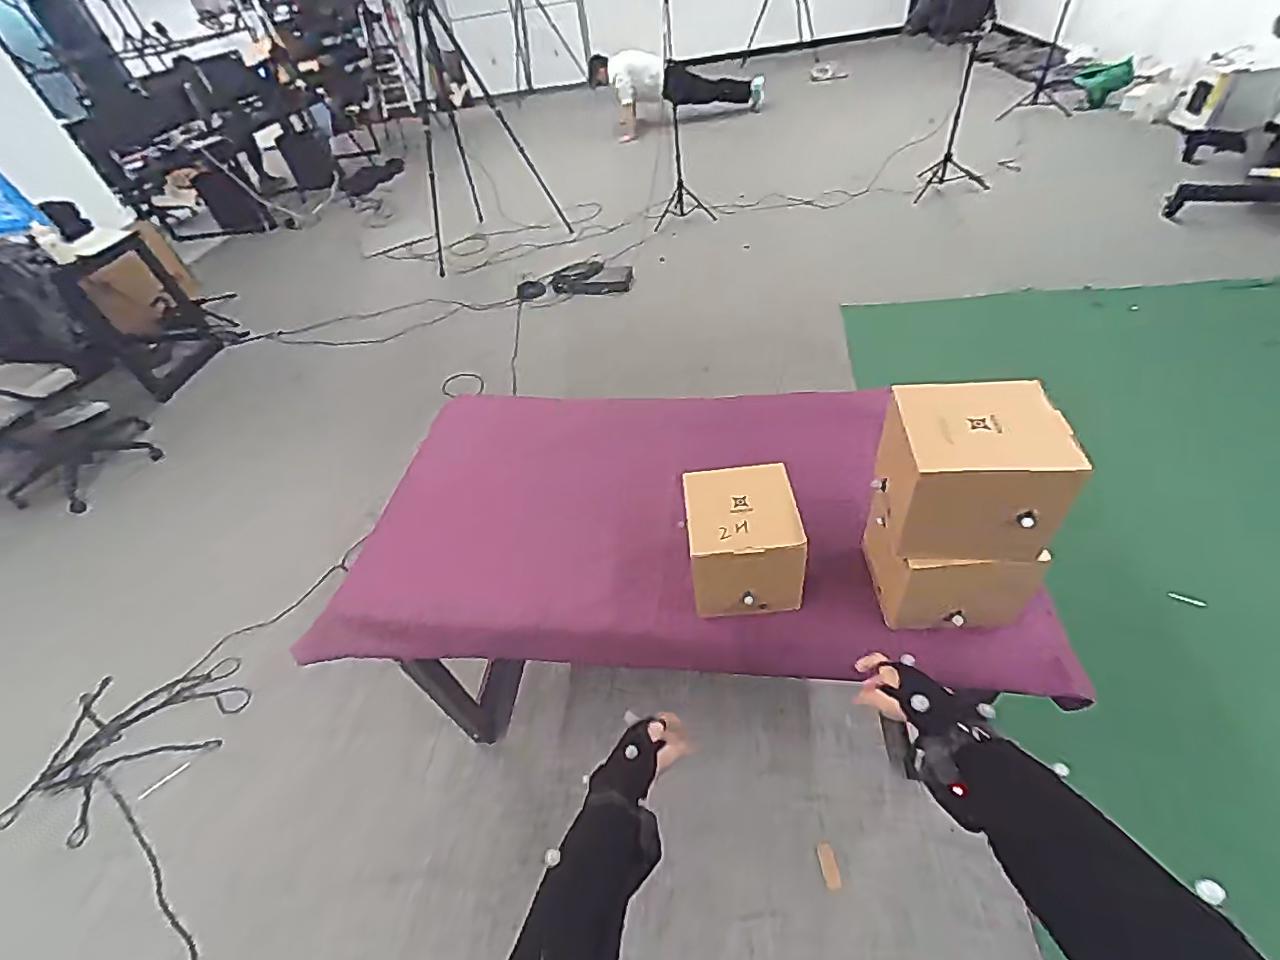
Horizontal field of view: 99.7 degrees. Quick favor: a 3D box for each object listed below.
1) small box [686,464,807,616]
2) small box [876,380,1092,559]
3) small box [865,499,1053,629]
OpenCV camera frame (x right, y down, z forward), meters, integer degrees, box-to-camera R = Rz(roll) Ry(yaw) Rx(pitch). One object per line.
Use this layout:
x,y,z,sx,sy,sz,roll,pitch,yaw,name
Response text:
0.166,0.098,0.877,0.168,0.176,0.179,-6,44,6,small box
0.421,-0.011,0.700,0.179,0.176,0.168,0,46,12,small box
0.455,0.108,0.808,0.179,0.176,0.168,-4,45,7,small box
